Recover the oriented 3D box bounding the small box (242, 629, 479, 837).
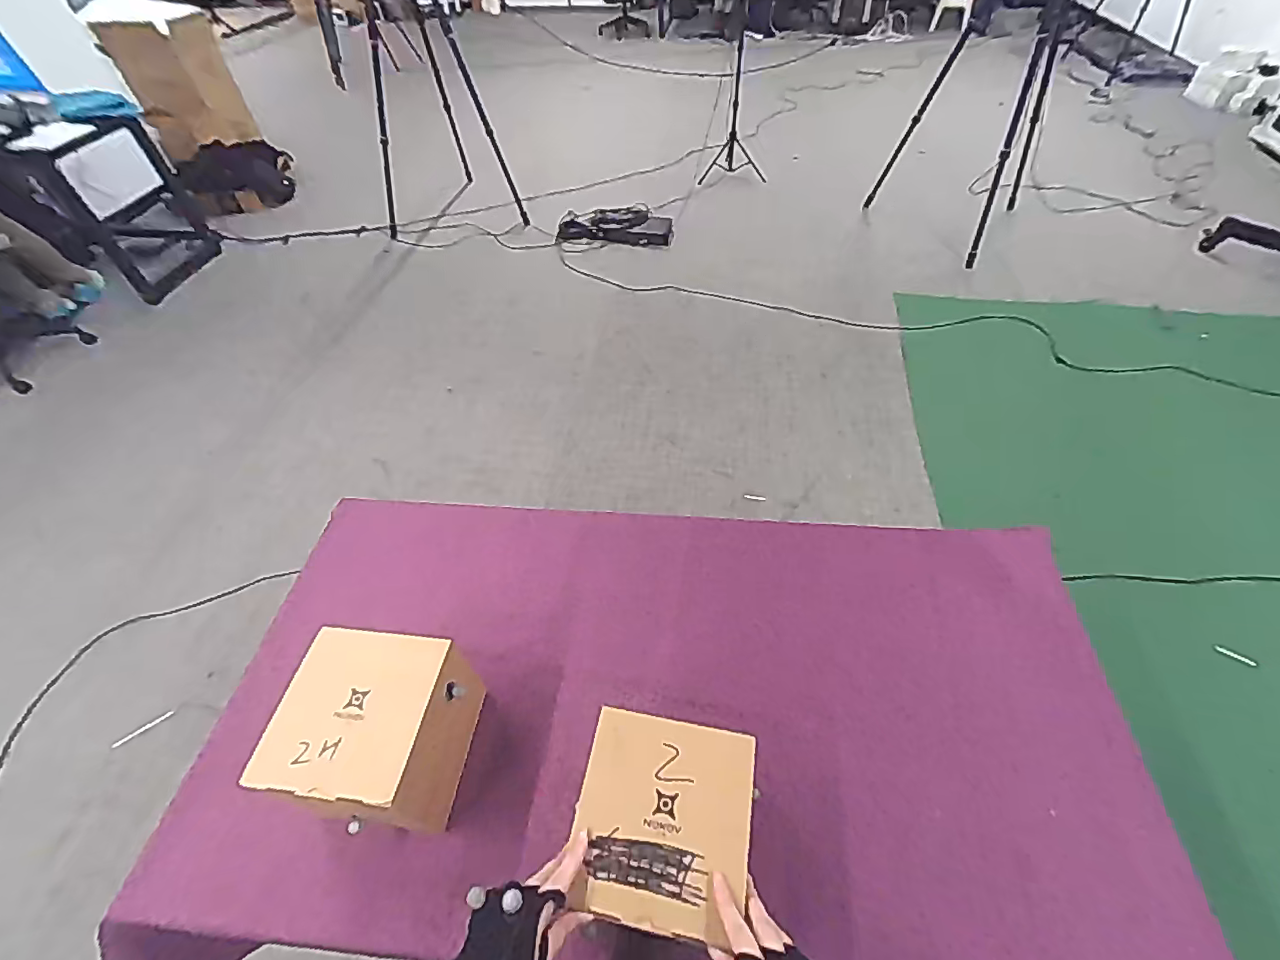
[{"bbox_3d":[-0.309,0.302,0.648,0.168,0.176,0.179,4,49,6],"label":"small box"}]
